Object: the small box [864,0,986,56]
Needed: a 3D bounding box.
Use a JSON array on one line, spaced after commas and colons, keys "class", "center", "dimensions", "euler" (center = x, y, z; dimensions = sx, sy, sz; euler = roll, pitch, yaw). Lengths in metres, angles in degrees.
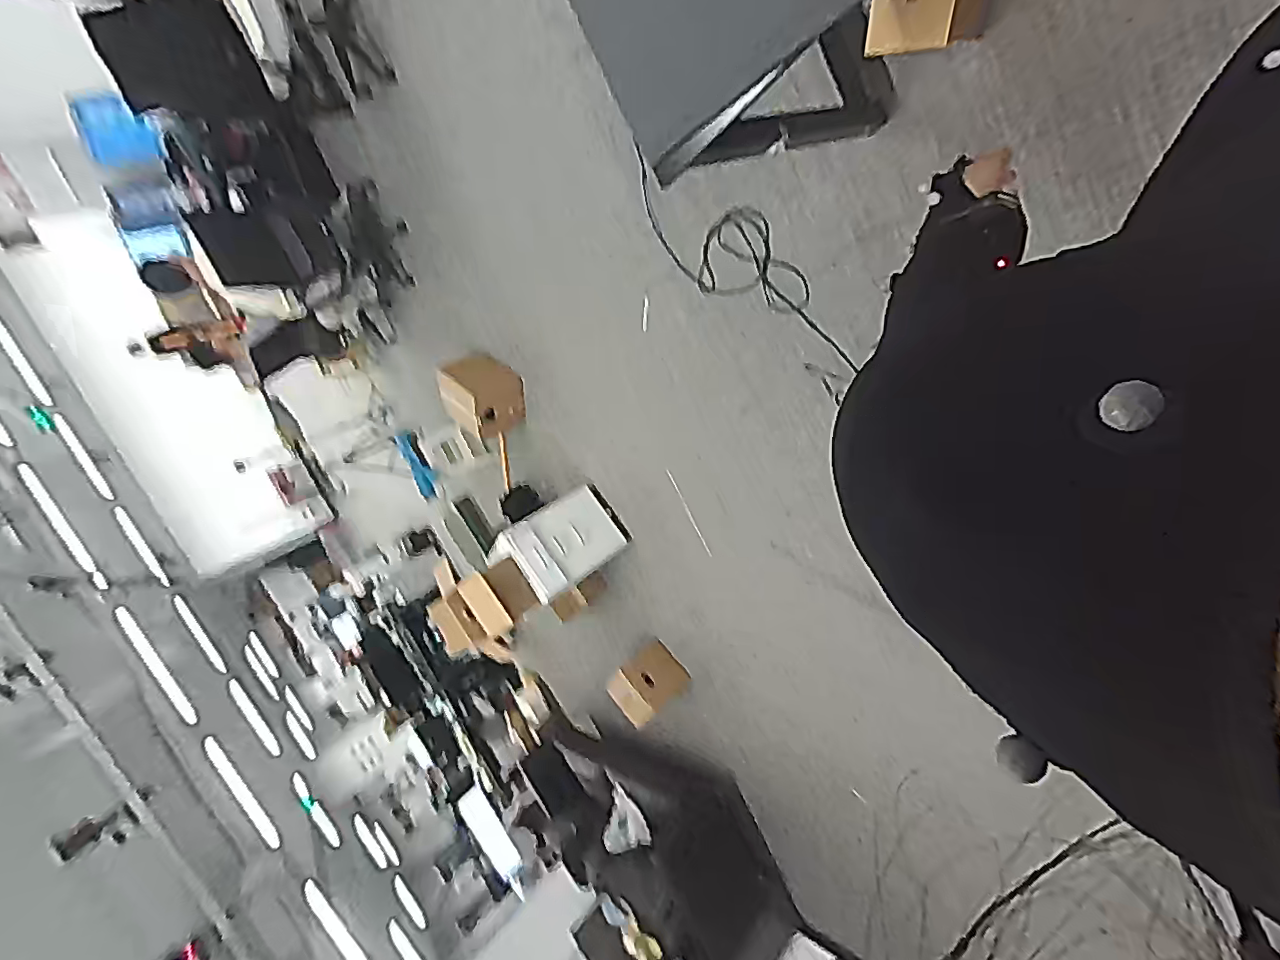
[{"class": "small box", "center": [0.566, -0.946, 1.052], "dimensions": [0.168, 0.176, 0.179], "euler": [28, 135, 38]}]
